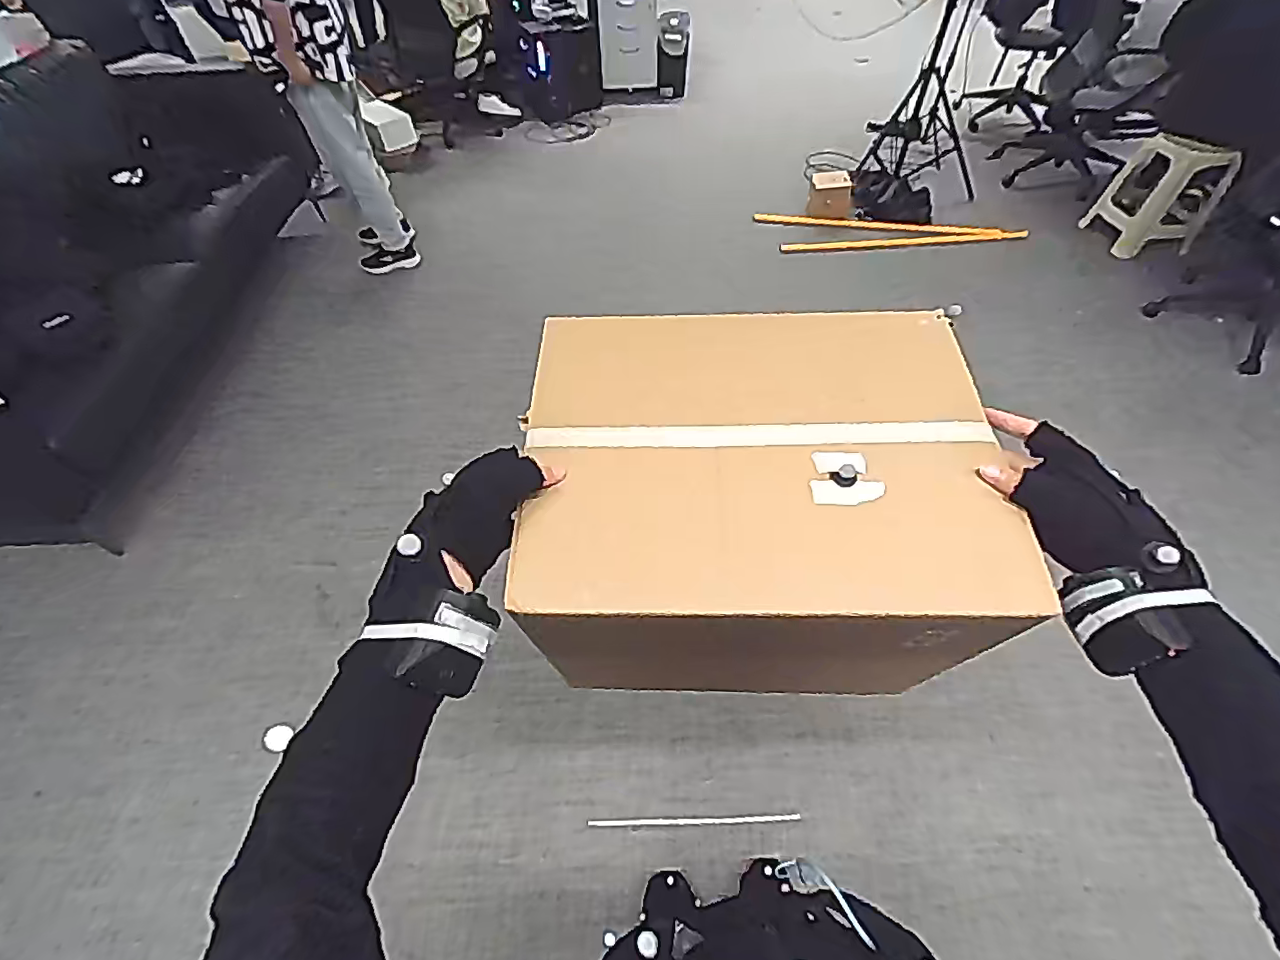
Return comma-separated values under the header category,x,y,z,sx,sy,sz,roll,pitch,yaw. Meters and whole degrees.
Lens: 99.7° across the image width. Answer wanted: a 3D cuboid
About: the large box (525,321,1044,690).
category,x,y,z,sx,sy,sz,roll,pitch,yaw
large box,0.110,0.045,0.613,0.408,0.320,0.320,0,59,2
